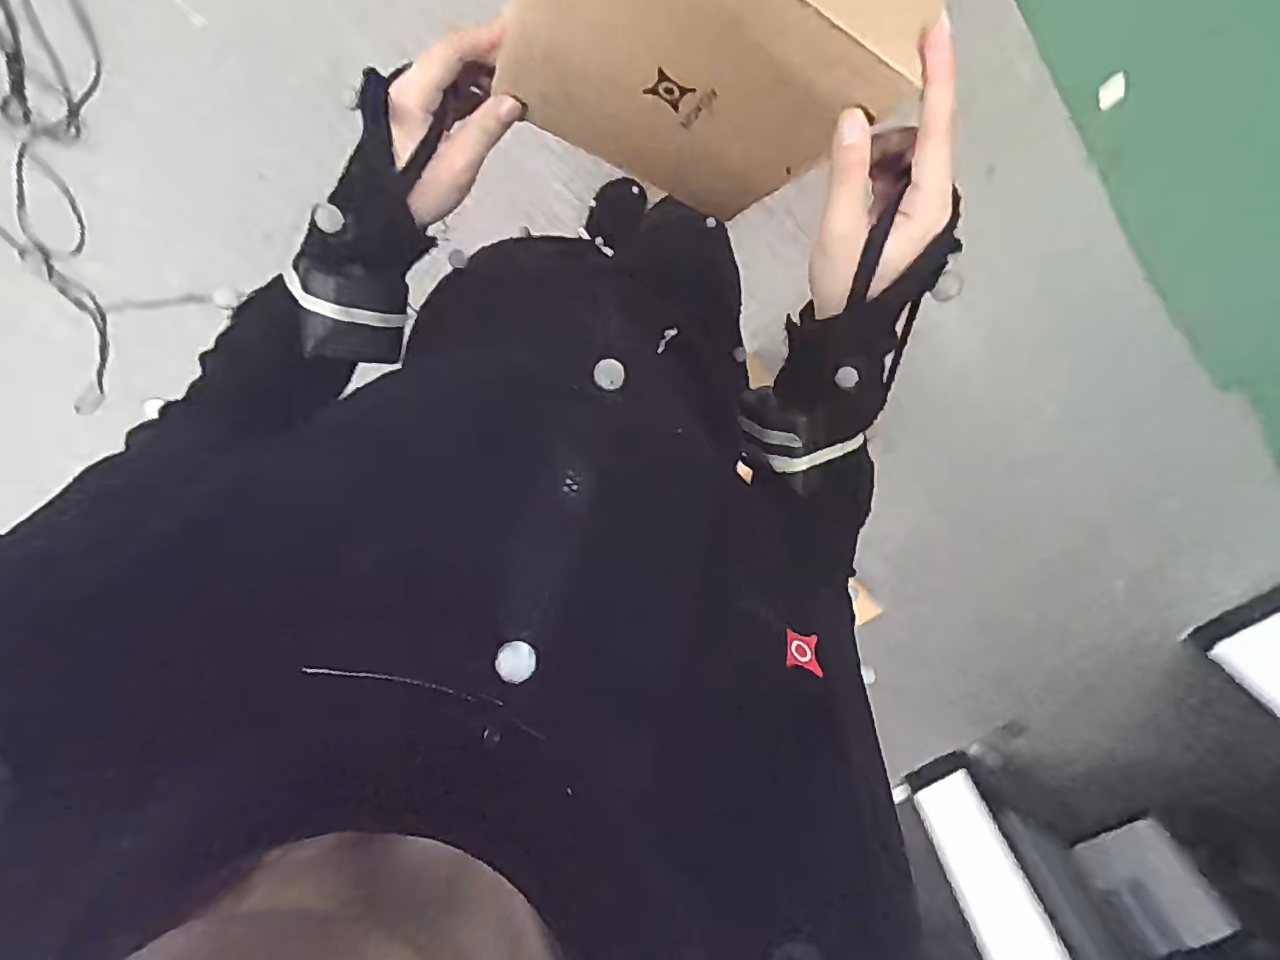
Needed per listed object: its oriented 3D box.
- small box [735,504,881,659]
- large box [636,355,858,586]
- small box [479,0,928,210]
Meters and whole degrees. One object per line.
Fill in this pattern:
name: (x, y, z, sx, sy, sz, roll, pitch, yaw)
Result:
small box: (0.287, 0.179, 0.969, 0.179, 0.176, 0.168, -40, 117, 21)
large box: (0.236, -0.024, 1.321, 0.408, 0.320, 0.320, -36, 116, 21)
small box: (0.031, -0.285, 0.281, 0.179, 0.168, 0.176, 13, 89, -23)
